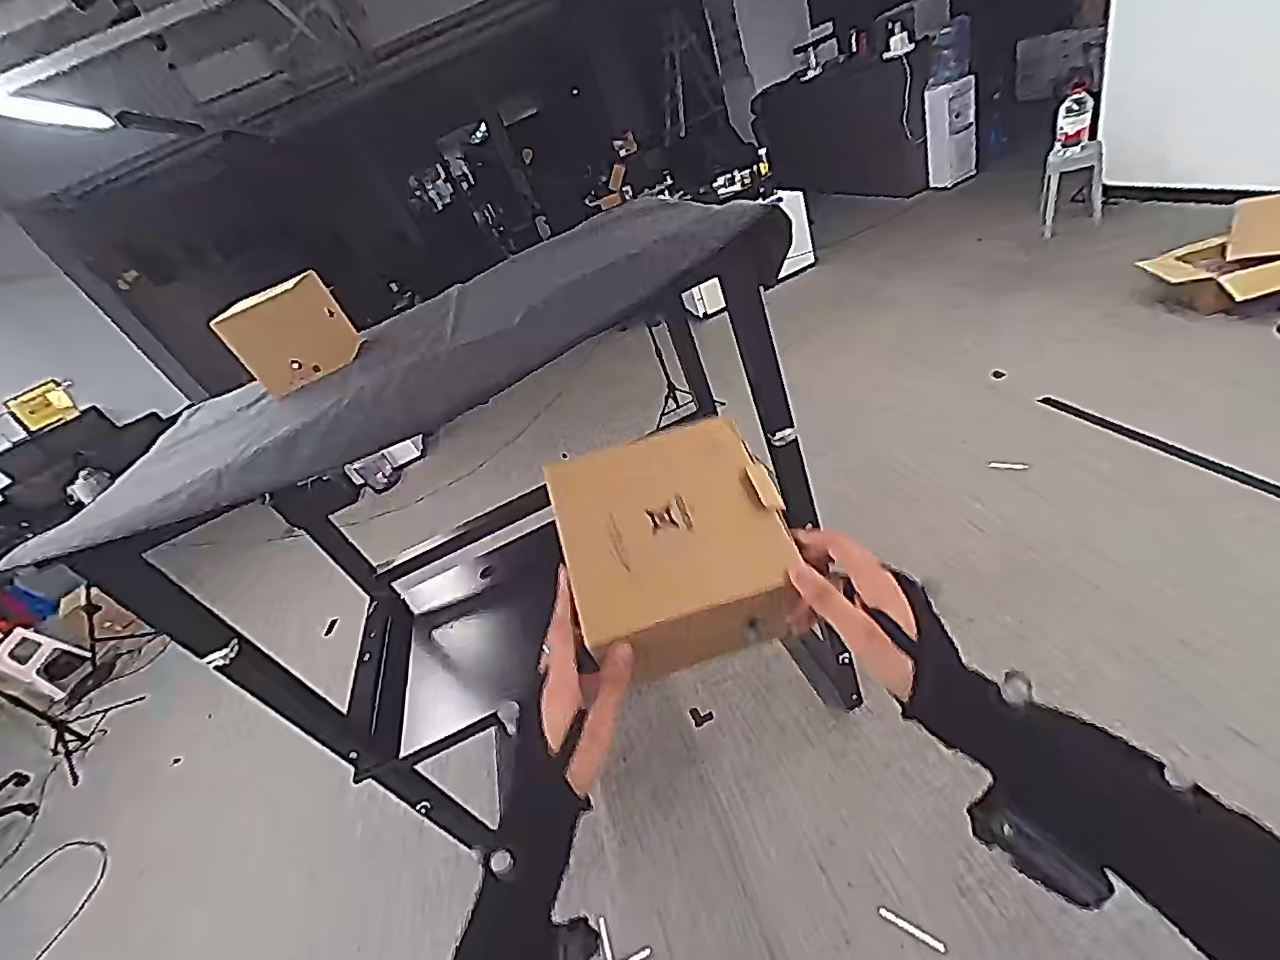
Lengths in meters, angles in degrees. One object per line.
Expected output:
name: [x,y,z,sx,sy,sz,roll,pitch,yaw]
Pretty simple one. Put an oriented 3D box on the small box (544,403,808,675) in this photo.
small box: [0.027,0.061,0.499,0.179,0.176,0.168,-17,58,-4]
